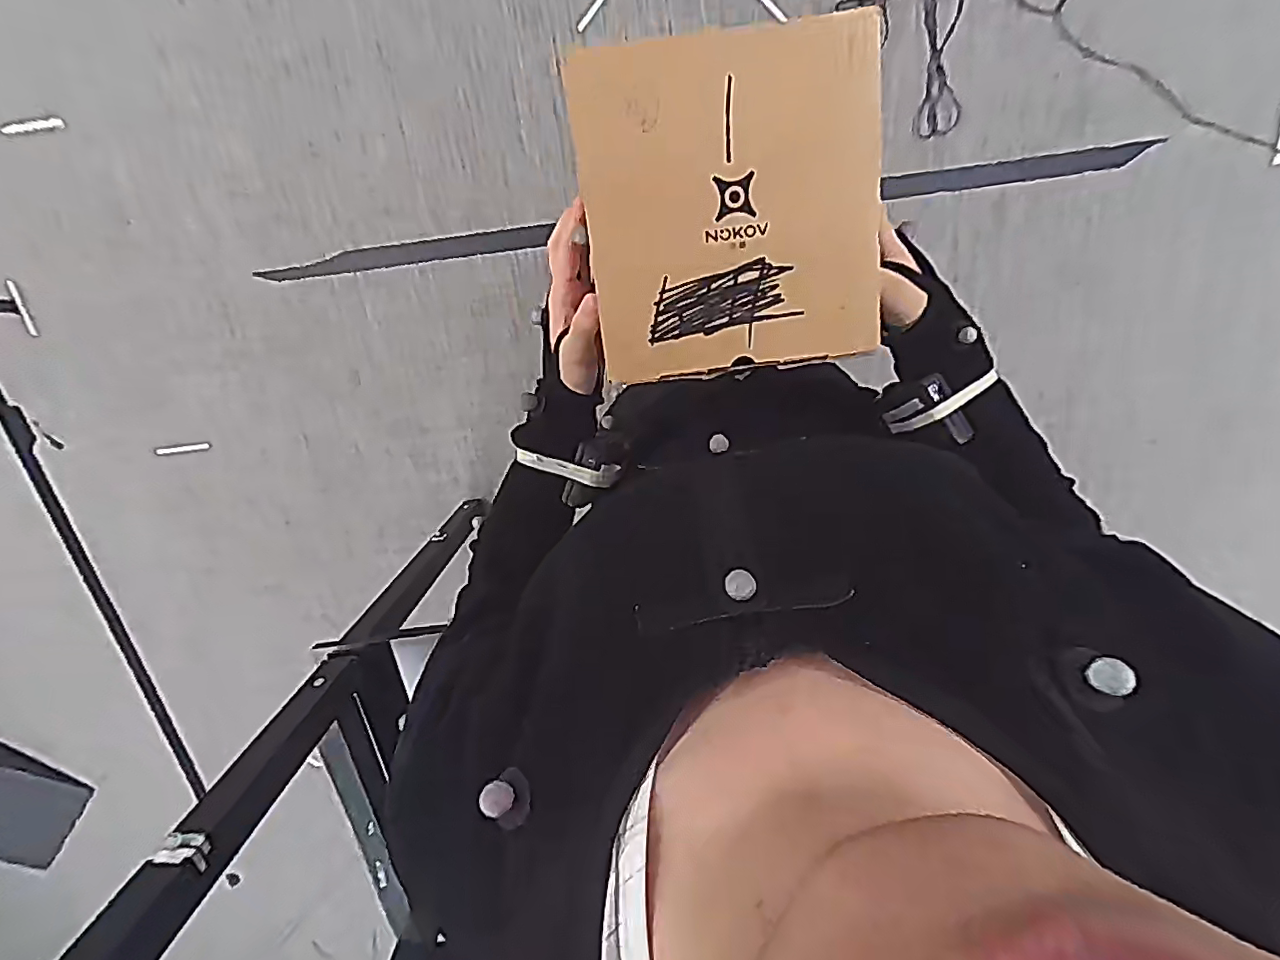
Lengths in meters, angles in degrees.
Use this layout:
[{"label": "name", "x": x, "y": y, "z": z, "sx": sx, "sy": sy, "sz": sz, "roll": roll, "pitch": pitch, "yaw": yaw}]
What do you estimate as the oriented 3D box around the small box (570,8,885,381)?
[{"label": "small box", "x": 0.052, "y": -0.174, "z": 0.379, "sx": 0.168, "sy": 0.176, "sz": 0.179, "roll": -7, "pitch": 107, "yaw": 1}]
